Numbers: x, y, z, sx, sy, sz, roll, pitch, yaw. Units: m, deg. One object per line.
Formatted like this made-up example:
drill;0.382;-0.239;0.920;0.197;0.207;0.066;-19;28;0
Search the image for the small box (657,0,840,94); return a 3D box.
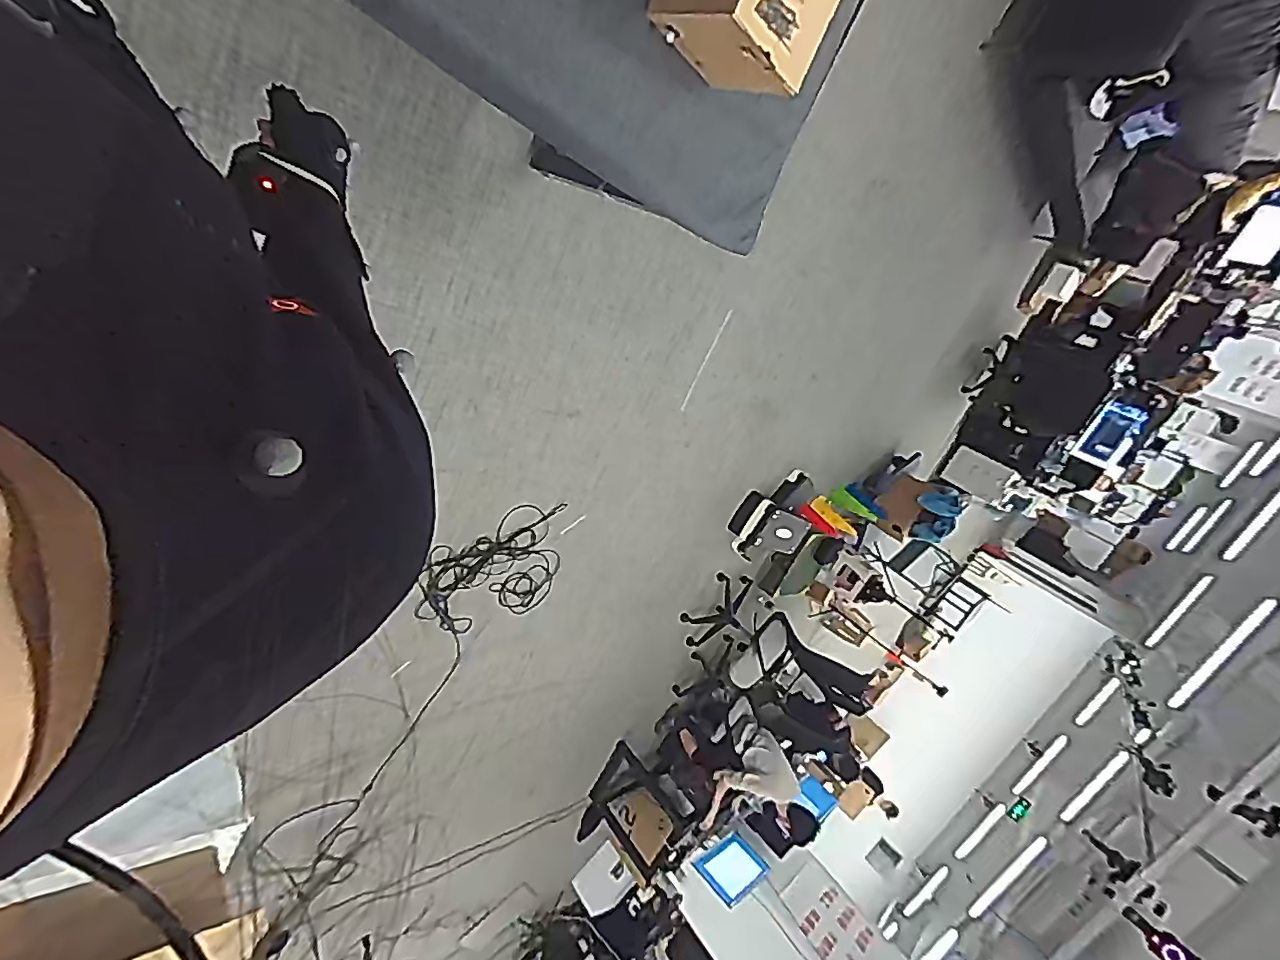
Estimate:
small box;0.146;-0.658;0.720;0.168;0.176;0.179;5;116;-49
